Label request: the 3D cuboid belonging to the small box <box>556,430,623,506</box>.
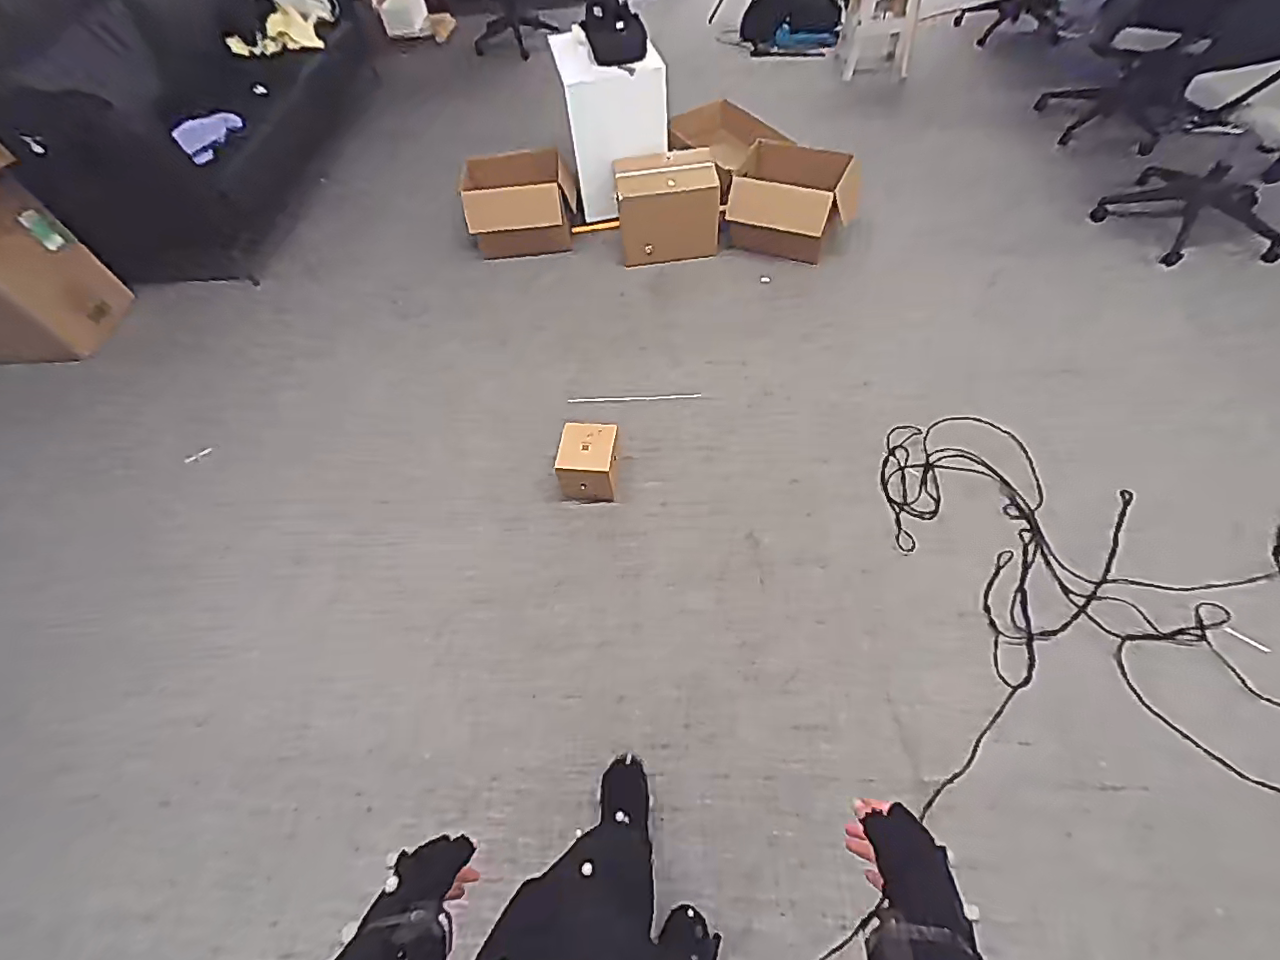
[{"bbox_3d":[-0.151,-0.034,1.682,0.168,0.176,0.179,4,57,8],"label":"small box"}]
